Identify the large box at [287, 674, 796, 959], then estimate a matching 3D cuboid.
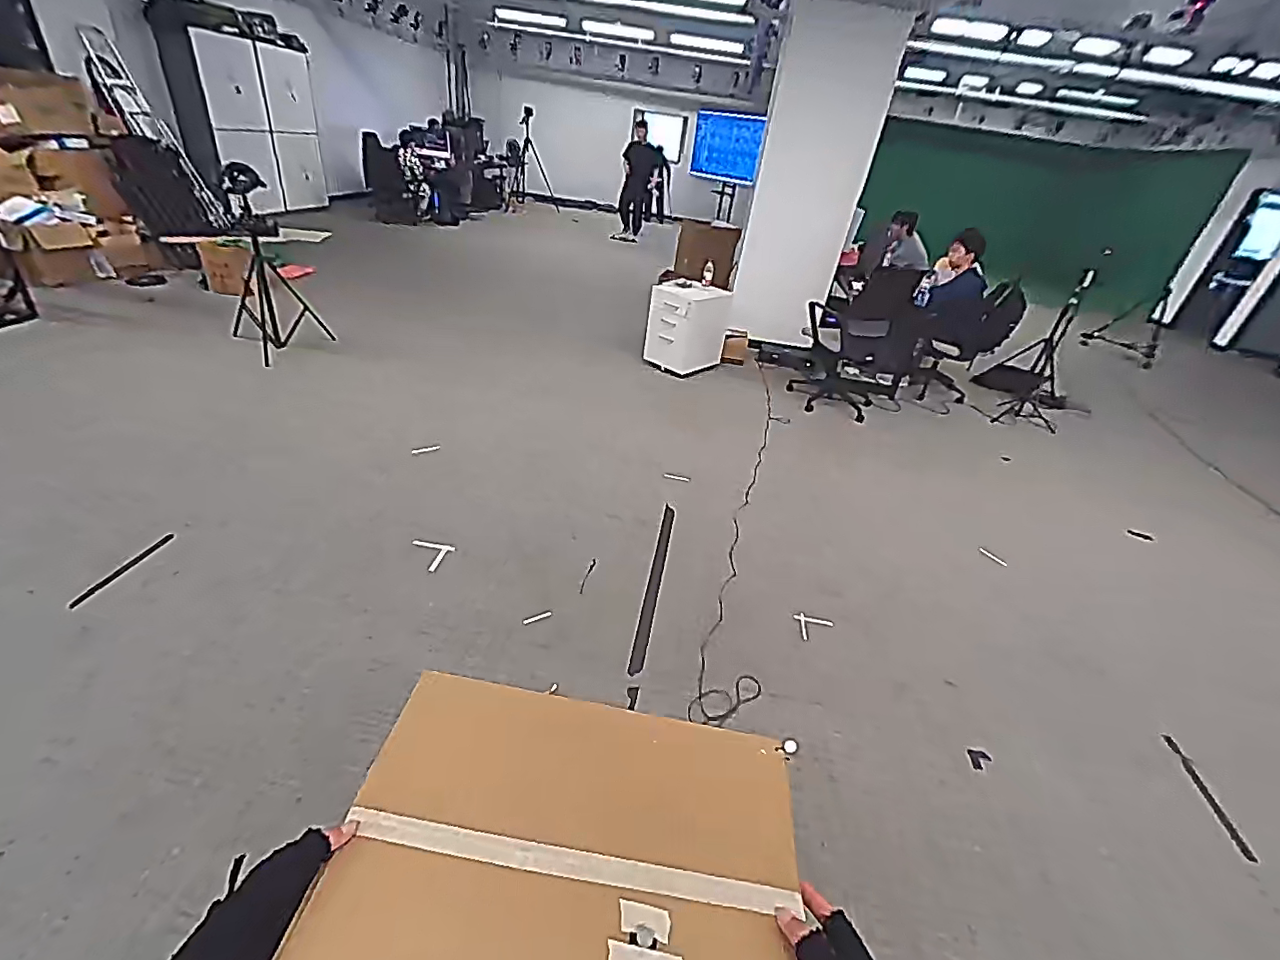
[{"bbox_3d":[-0.084,0.460,0.569,0.408,0.320,0.320,12,35,0],"label":"large box"}]
